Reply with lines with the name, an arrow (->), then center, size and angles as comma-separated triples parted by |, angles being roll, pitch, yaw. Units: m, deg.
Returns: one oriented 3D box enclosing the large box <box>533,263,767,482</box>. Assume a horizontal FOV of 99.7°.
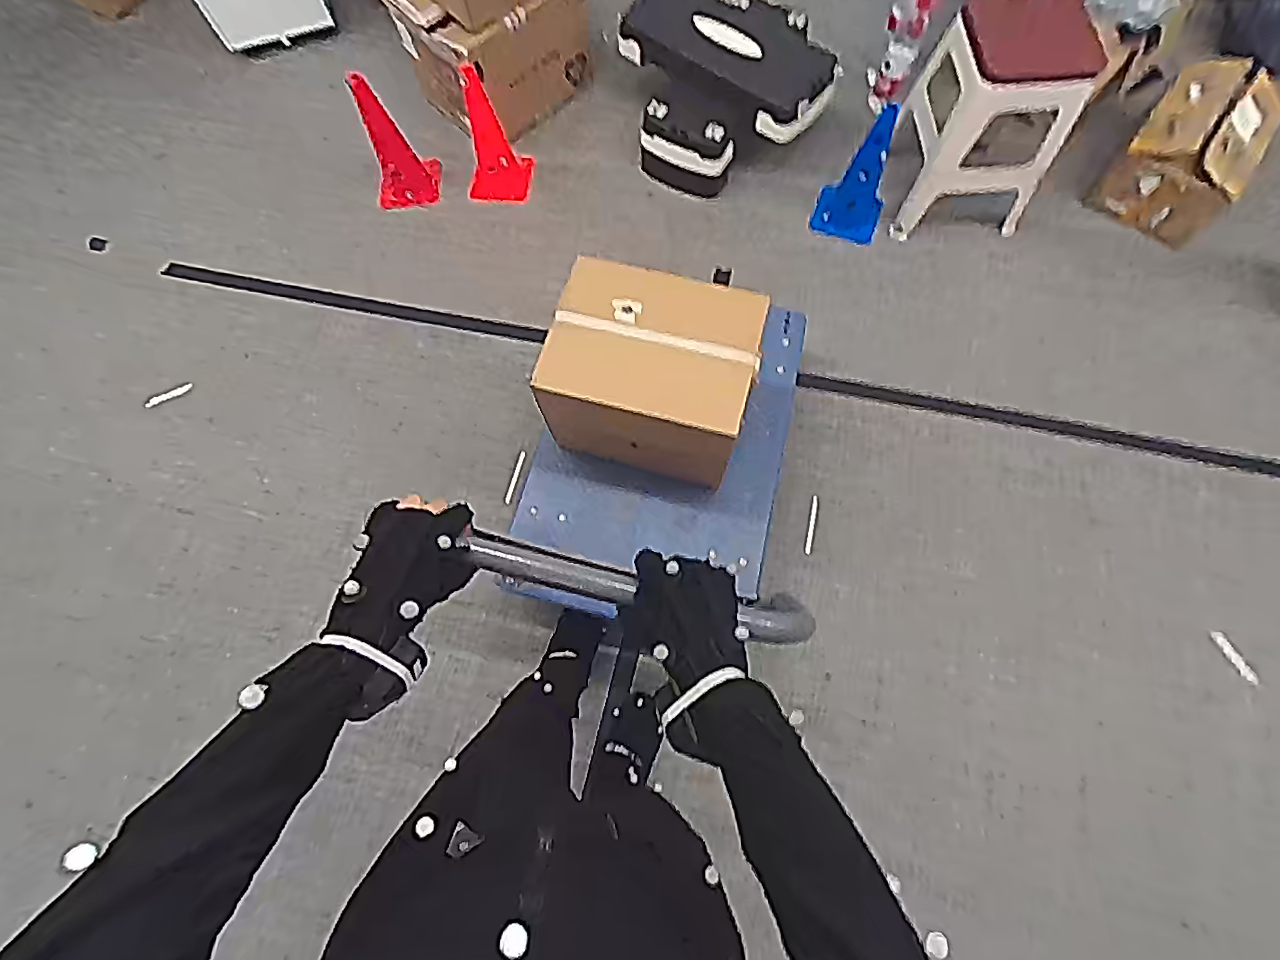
large box -> 0.032, -0.219, 1.194 | 0.408, 0.320, 0.320 | 15, 73, 7
